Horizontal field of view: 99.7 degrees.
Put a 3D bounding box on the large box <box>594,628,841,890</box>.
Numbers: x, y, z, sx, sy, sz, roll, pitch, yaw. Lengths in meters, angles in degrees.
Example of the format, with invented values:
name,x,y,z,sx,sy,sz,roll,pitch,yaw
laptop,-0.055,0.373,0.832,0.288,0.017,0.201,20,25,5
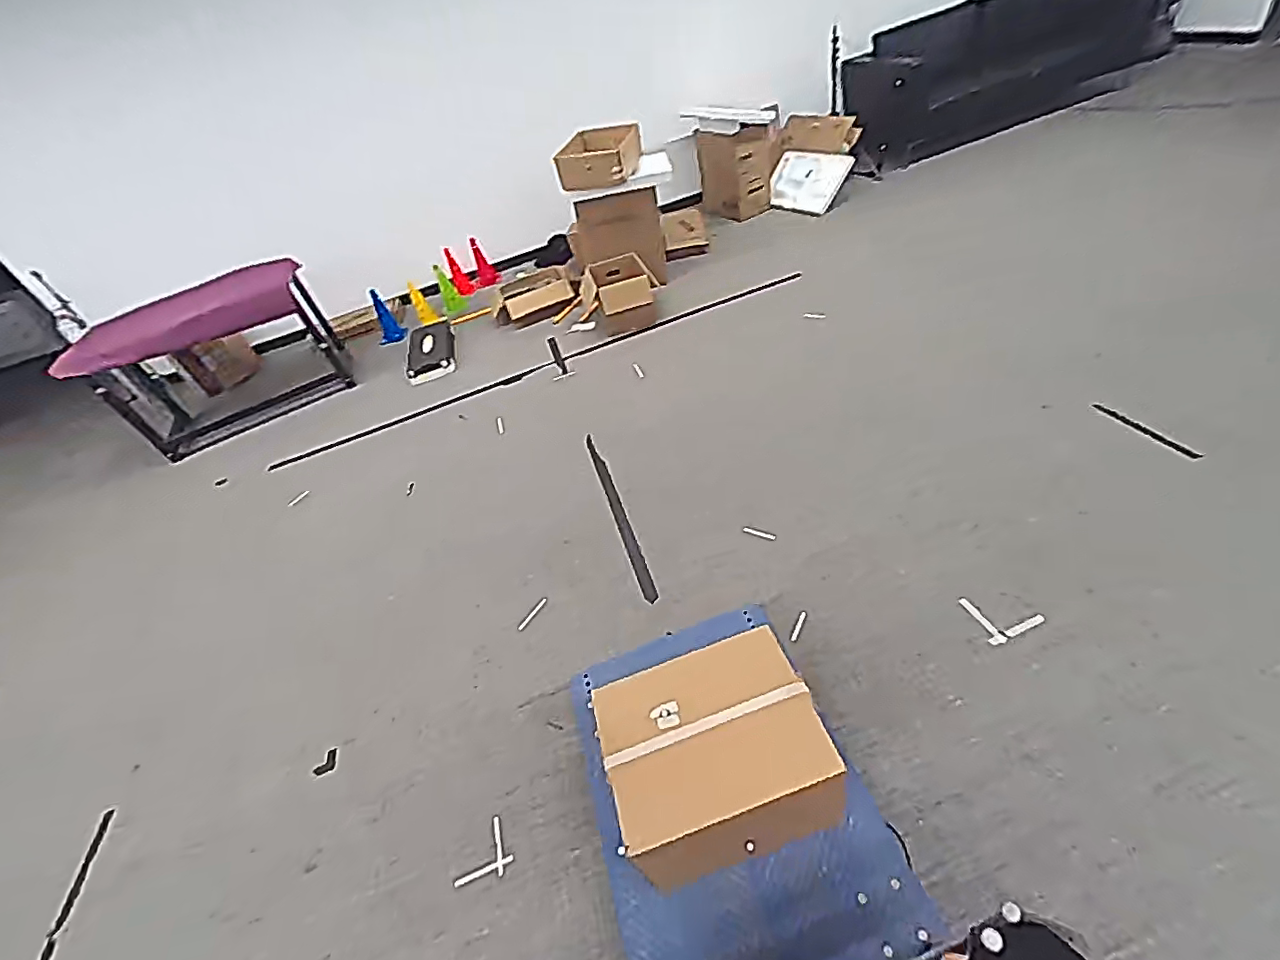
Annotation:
name,x,y,z,sx,sy,sz,roll,pitch,yaw
large box,0.162,0.585,1.141,0.408,0.320,0.320,-21,41,-3
